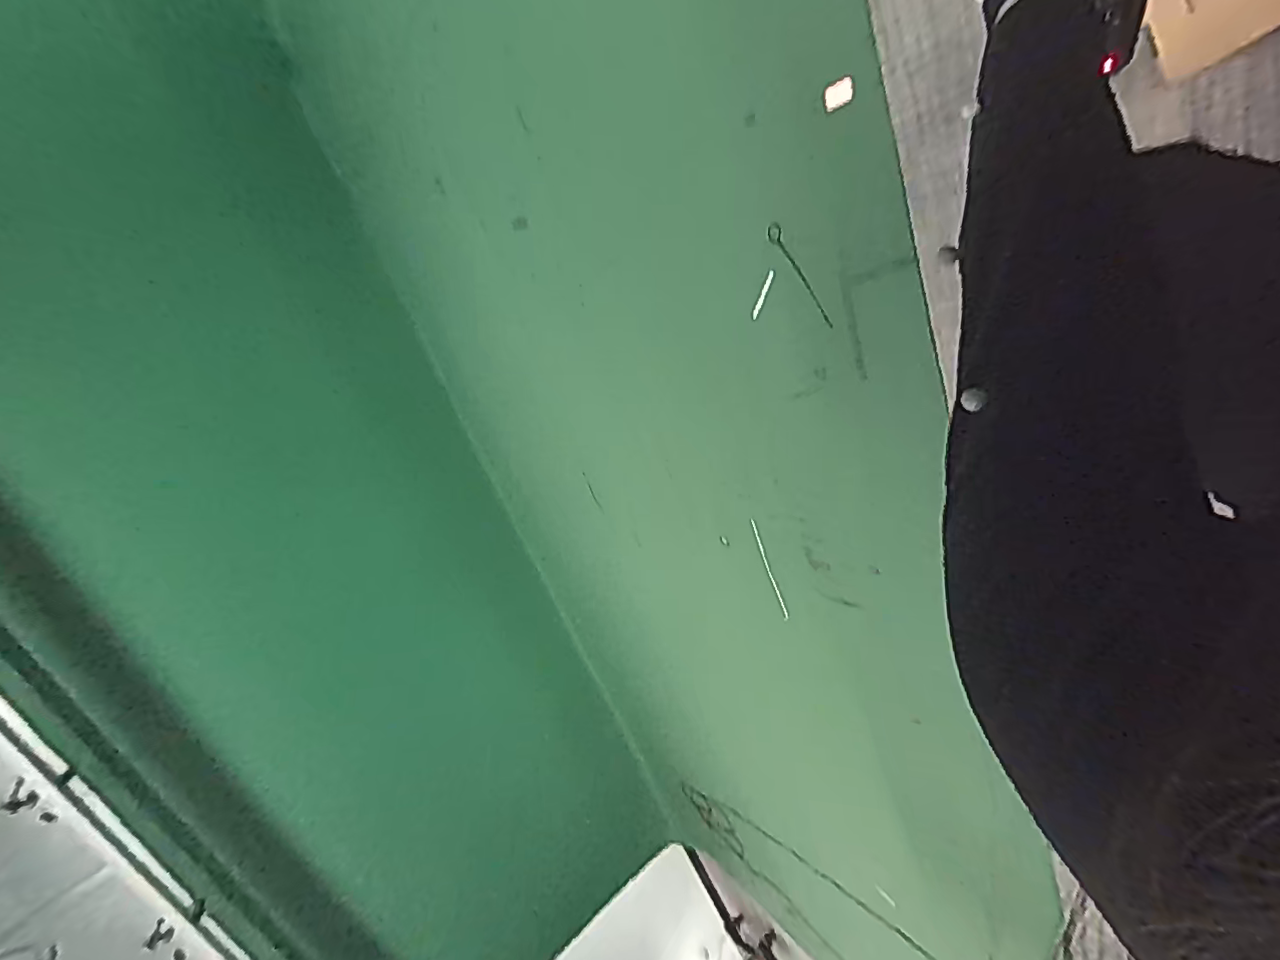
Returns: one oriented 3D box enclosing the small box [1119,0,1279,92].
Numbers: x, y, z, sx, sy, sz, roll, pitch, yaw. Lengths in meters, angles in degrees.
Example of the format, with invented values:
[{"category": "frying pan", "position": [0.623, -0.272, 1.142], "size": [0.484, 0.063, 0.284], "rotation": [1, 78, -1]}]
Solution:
[{"category": "small box", "position": [0.528, -0.465, 0.439], "size": [0.168, 0.176, 0.179], "rotation": [62, 153, -7]}]
